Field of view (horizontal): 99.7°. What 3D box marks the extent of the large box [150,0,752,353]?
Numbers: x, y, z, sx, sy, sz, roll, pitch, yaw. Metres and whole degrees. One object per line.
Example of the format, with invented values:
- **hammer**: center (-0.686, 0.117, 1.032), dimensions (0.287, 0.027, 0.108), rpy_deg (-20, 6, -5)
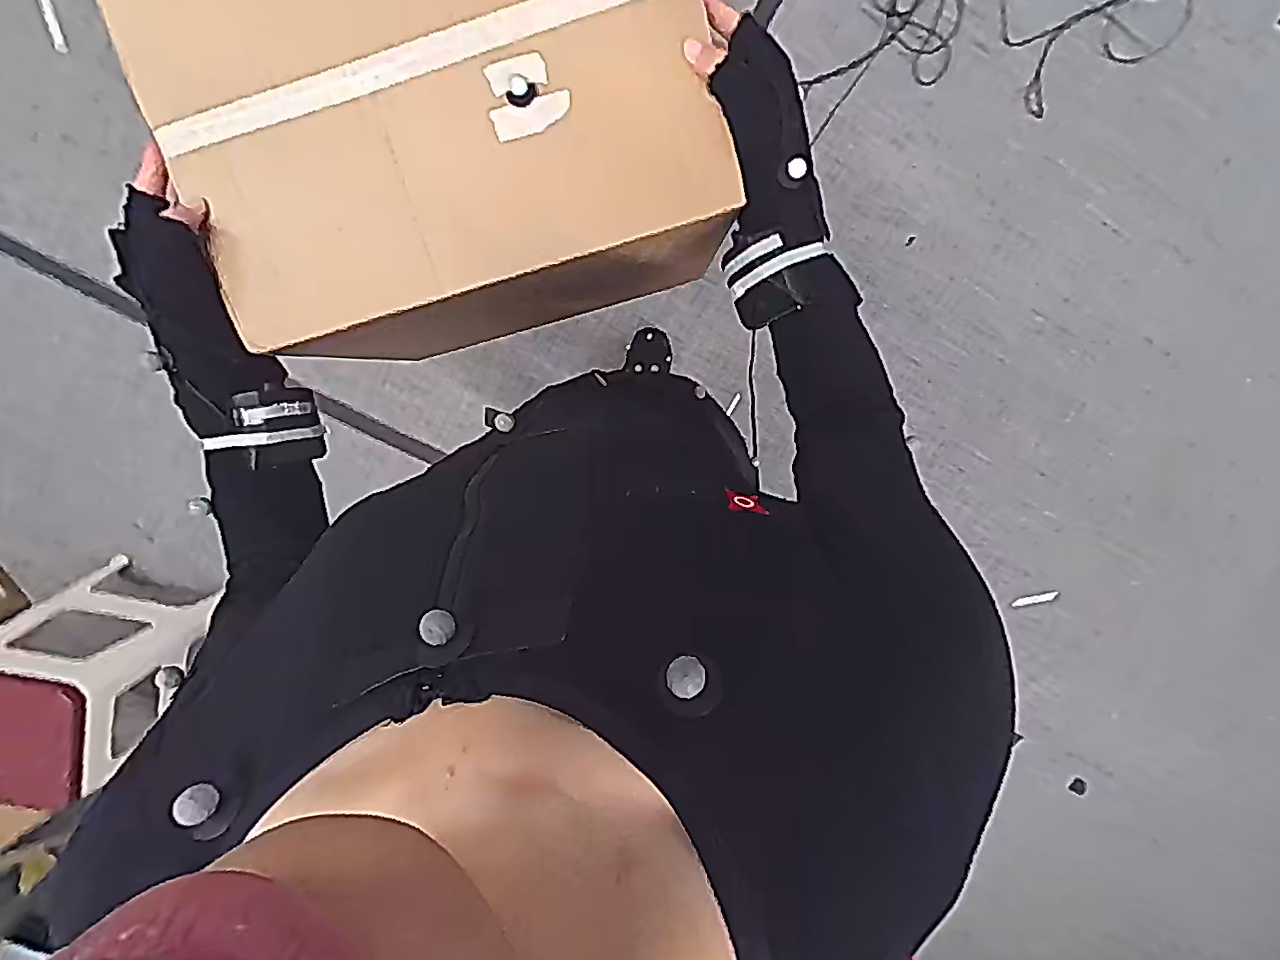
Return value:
- **large box**: center (-0.143, -0.339, 0.544), dimensions (0.408, 0.320, 0.320), rpy_deg (-14, 100, 3)
